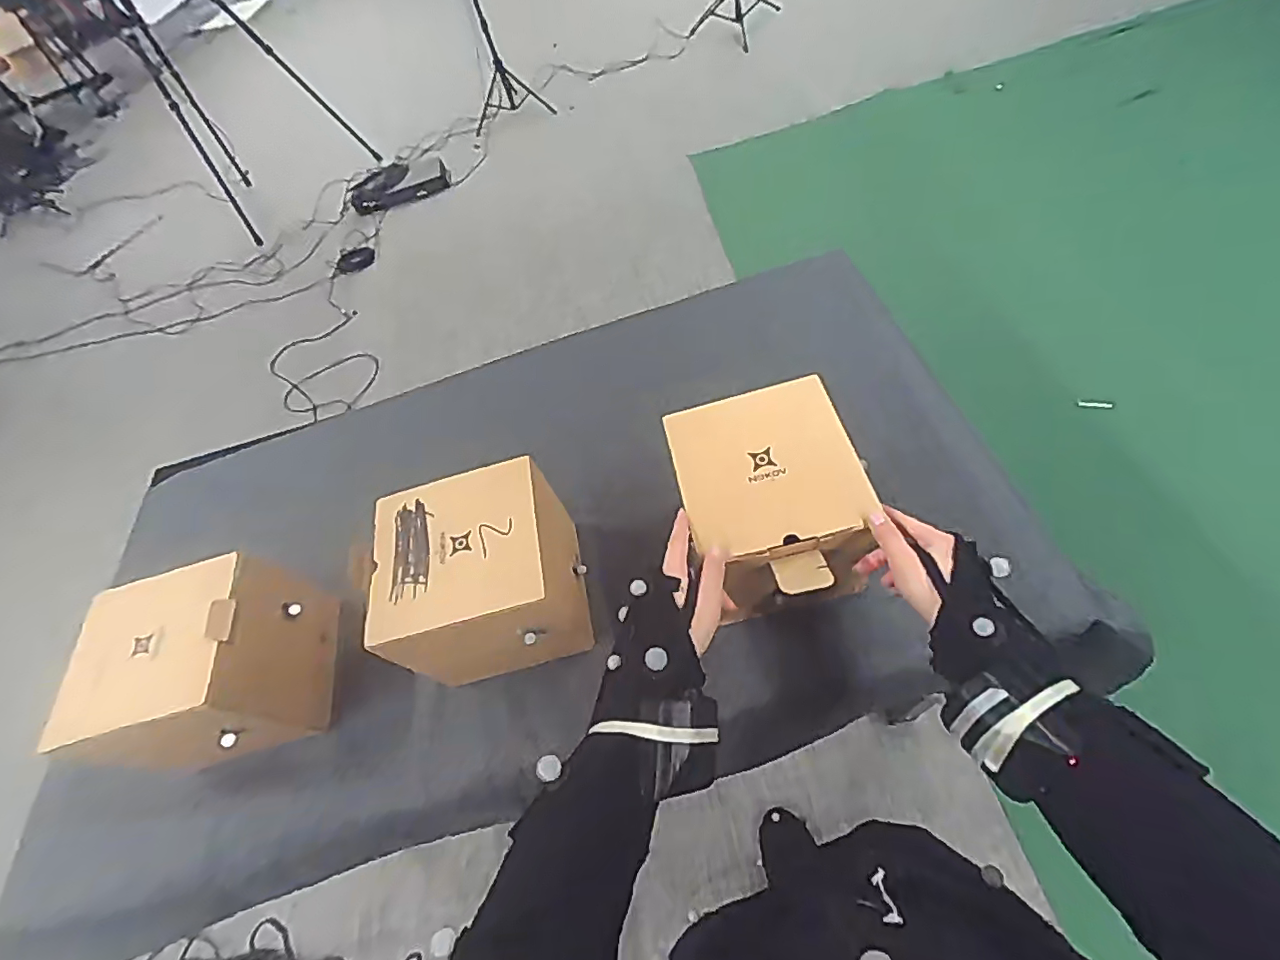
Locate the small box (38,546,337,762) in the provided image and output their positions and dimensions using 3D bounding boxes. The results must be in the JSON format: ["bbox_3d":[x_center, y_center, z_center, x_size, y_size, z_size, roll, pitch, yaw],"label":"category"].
[{"bbox_3d":[-0.474,0.201,0.605,0.179,0.176,0.168,-18,55,3],"label":"small box"}]

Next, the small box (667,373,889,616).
[{"bbox_3d":[0.133,0.022,0.573,0.168,0.176,0.179,-15,57,4],"label":"small box"}]
